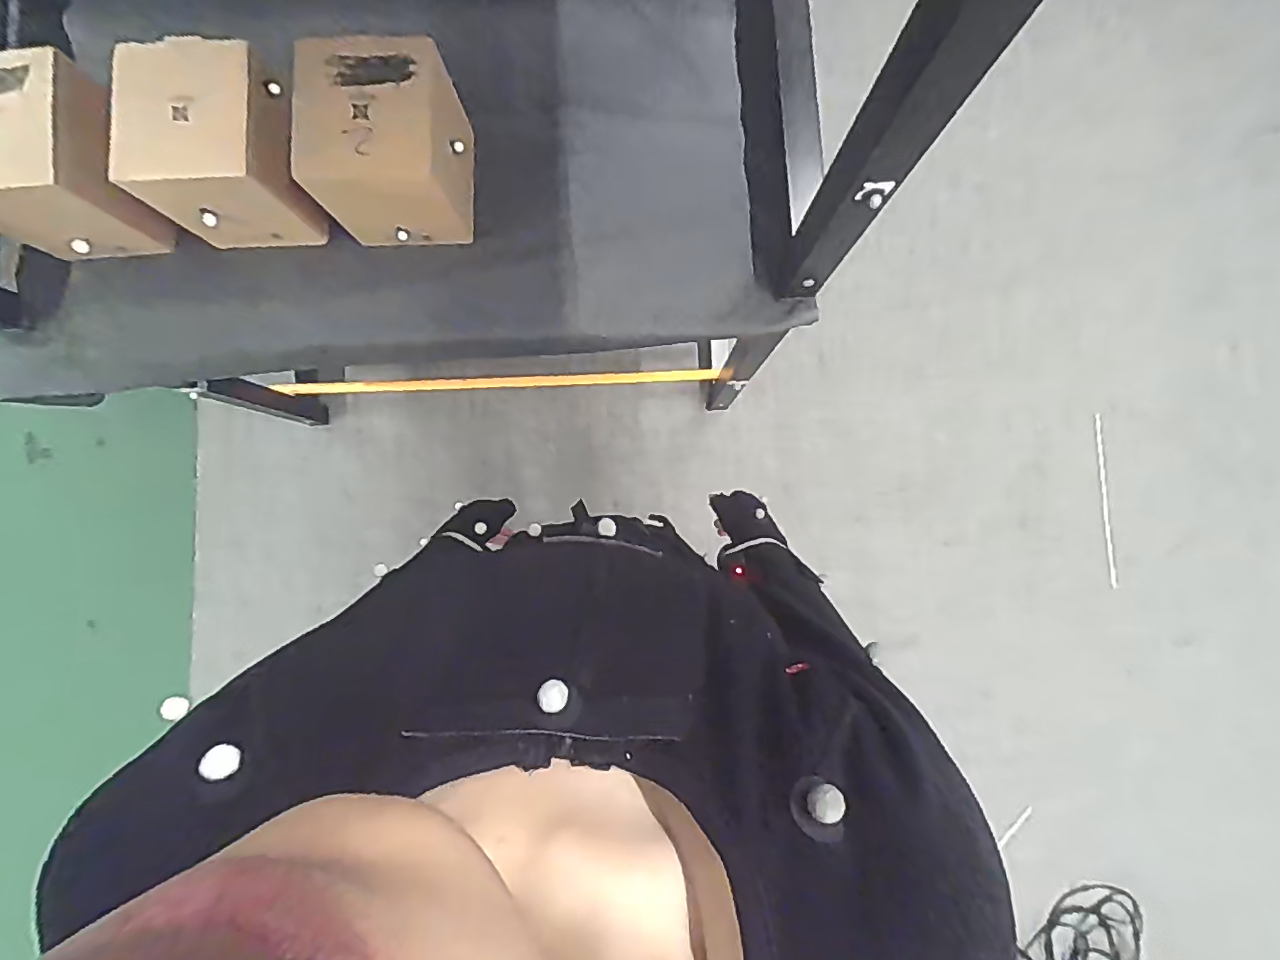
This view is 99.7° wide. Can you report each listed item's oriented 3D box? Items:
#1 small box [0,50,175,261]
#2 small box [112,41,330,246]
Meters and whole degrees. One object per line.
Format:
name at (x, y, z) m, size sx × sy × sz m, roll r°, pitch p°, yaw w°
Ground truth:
small box at (-0.767, -0.418, 0.719) m, size 0.168 × 0.176 × 0.179 m, roll -4°, pitch 86°, yaw 0°
small box at (-0.541, -0.431, 0.722) m, size 0.168 × 0.176 × 0.179 m, roll -2°, pitch 85°, yaw 0°
